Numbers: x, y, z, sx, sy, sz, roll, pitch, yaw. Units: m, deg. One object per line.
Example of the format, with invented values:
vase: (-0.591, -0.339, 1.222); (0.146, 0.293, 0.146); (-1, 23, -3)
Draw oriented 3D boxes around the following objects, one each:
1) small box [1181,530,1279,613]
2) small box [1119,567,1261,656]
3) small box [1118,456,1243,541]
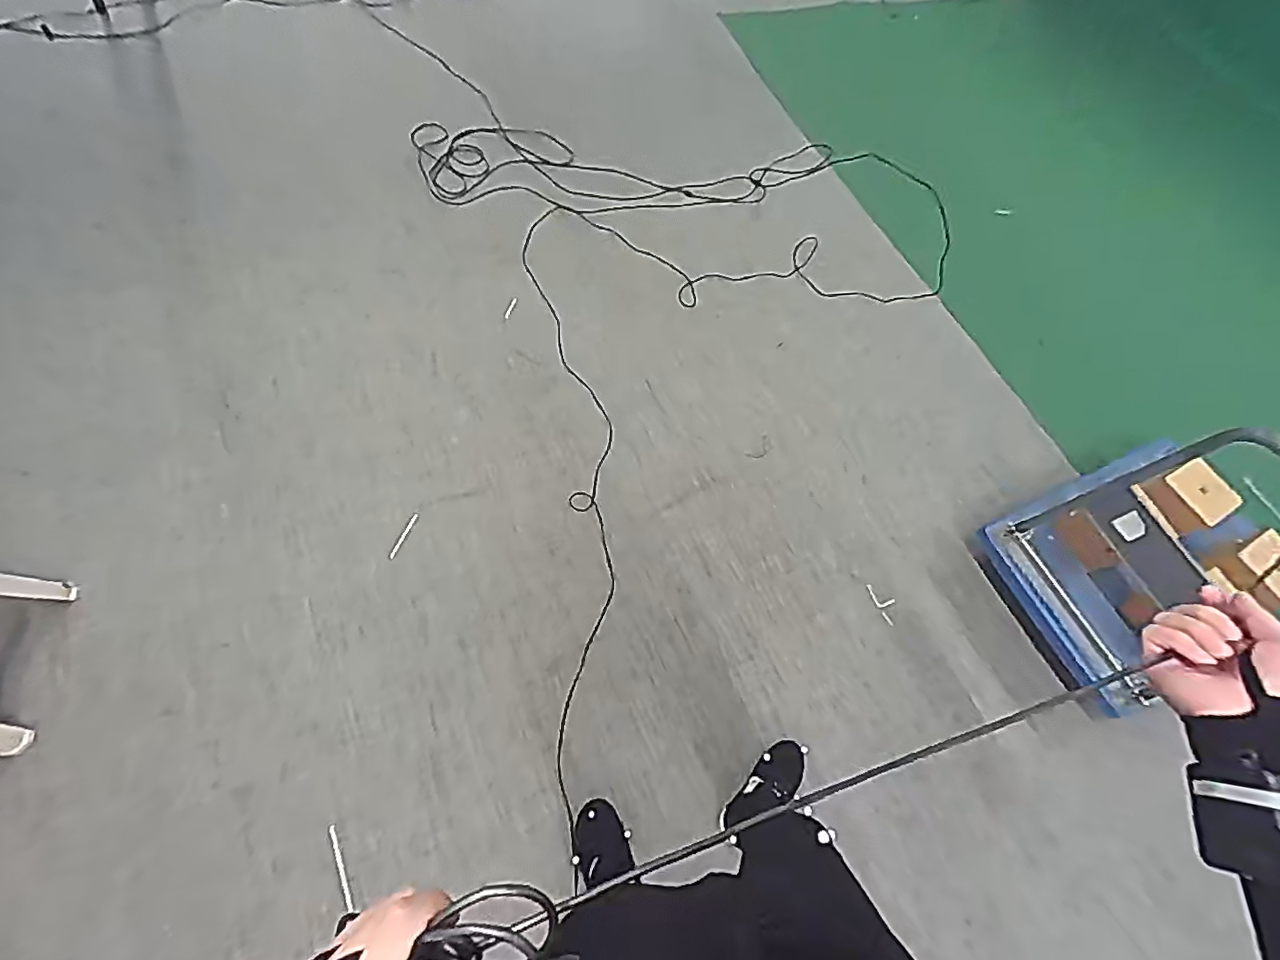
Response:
small box: (1.707, 0.267, 1.524); (0.179, 0.176, 0.168); (-24, 70, -16)
small box: (1.462, 0.356, 1.451); (0.179, 0.176, 0.168); (-19, 69, -15)
small box: (1.588, 0.060, 1.604); (0.179, 0.176, 0.168); (-24, 71, -17)
